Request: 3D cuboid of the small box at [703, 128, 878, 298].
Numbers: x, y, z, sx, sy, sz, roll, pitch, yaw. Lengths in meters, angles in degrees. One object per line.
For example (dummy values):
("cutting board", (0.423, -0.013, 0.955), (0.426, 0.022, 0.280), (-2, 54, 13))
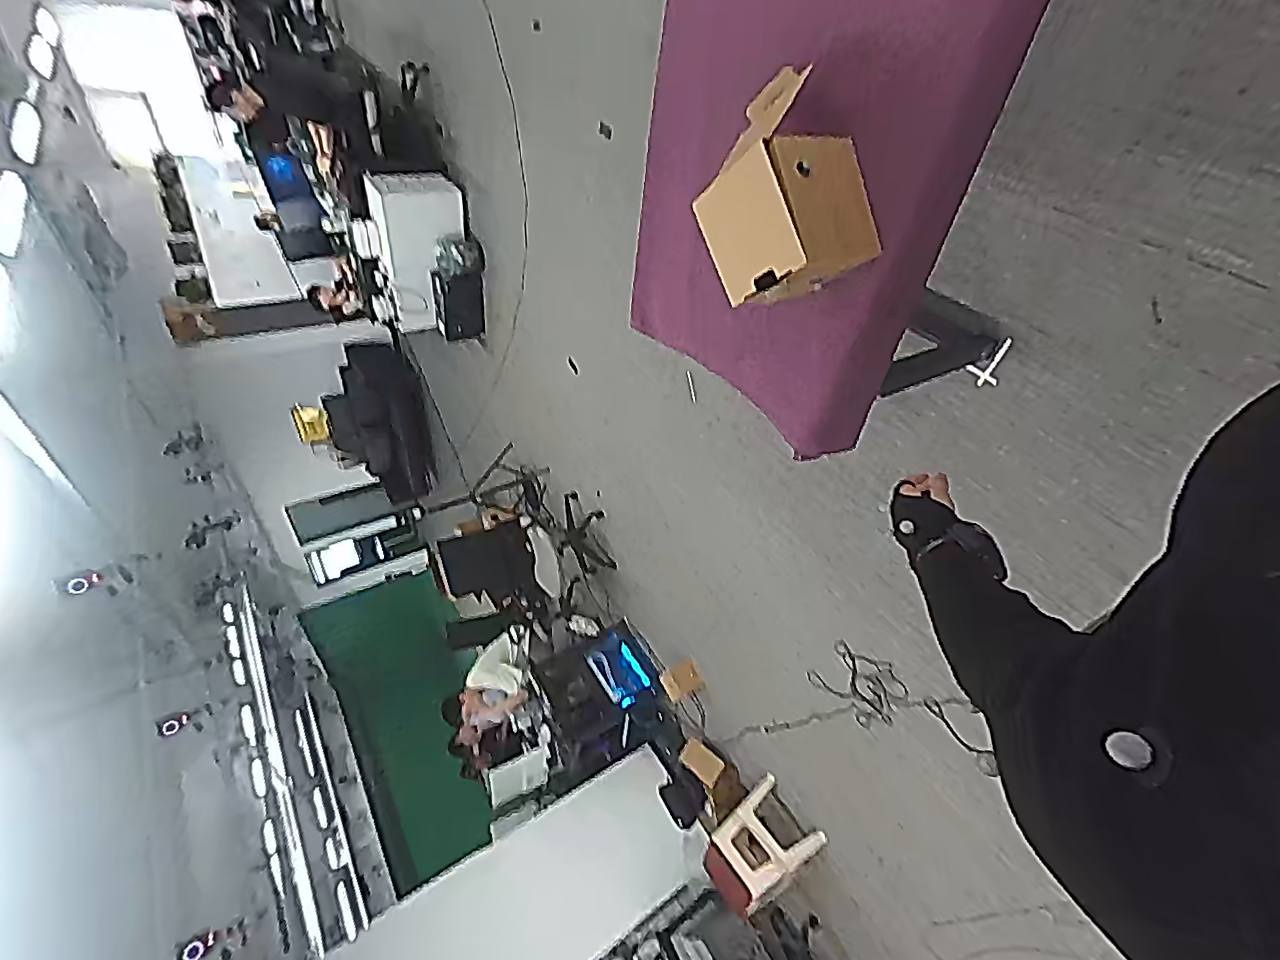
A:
("small box", (0.228, -0.398, 0.825), (0.168, 0.176, 0.179), (-9, 99, 62))
